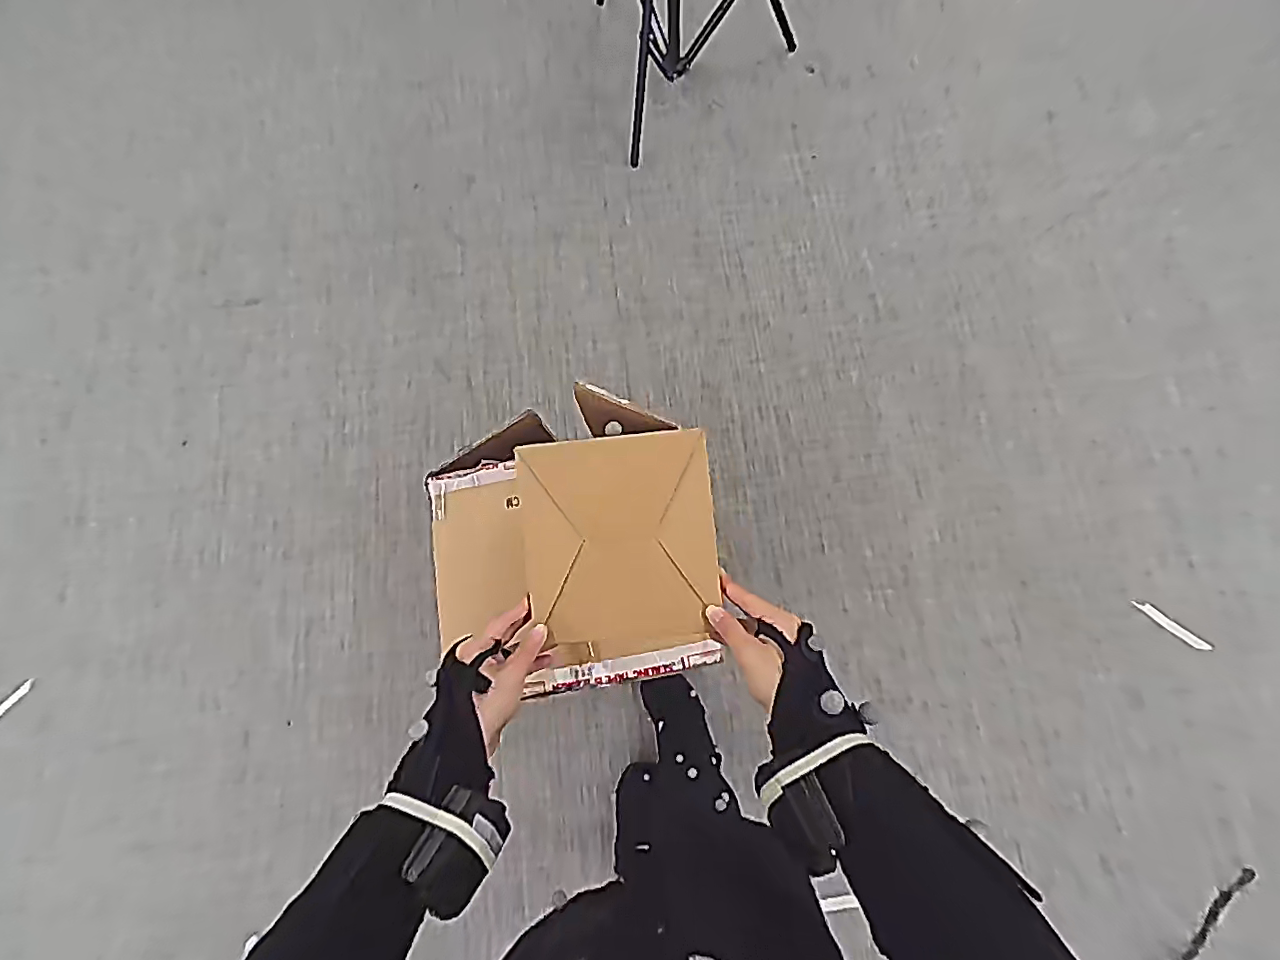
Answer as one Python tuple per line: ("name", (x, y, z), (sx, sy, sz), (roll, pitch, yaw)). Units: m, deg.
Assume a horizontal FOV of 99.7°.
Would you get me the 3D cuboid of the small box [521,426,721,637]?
("small box", (-0.013, 0.047, 0.545), (0.168, 0.176, 0.179), (-6, 91, 3))
